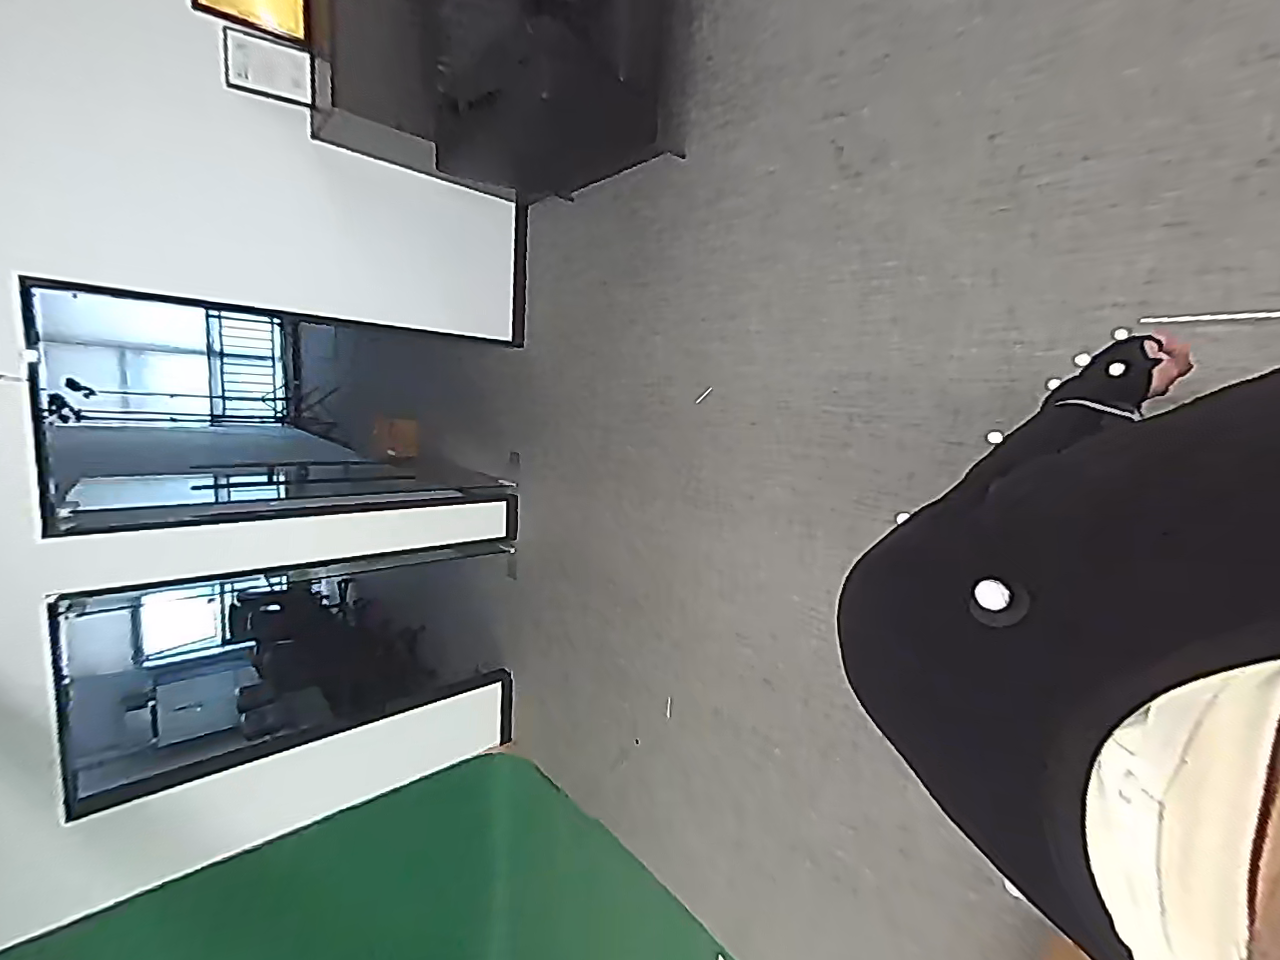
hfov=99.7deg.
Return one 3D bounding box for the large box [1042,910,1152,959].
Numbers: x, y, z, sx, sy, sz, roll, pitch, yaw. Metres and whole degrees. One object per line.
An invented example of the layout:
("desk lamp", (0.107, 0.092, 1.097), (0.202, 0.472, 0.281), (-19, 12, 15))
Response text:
("large box", (1.096, 1.279, 1.161), (0.408, 0.320, 0.320), (16, 104, 48))
